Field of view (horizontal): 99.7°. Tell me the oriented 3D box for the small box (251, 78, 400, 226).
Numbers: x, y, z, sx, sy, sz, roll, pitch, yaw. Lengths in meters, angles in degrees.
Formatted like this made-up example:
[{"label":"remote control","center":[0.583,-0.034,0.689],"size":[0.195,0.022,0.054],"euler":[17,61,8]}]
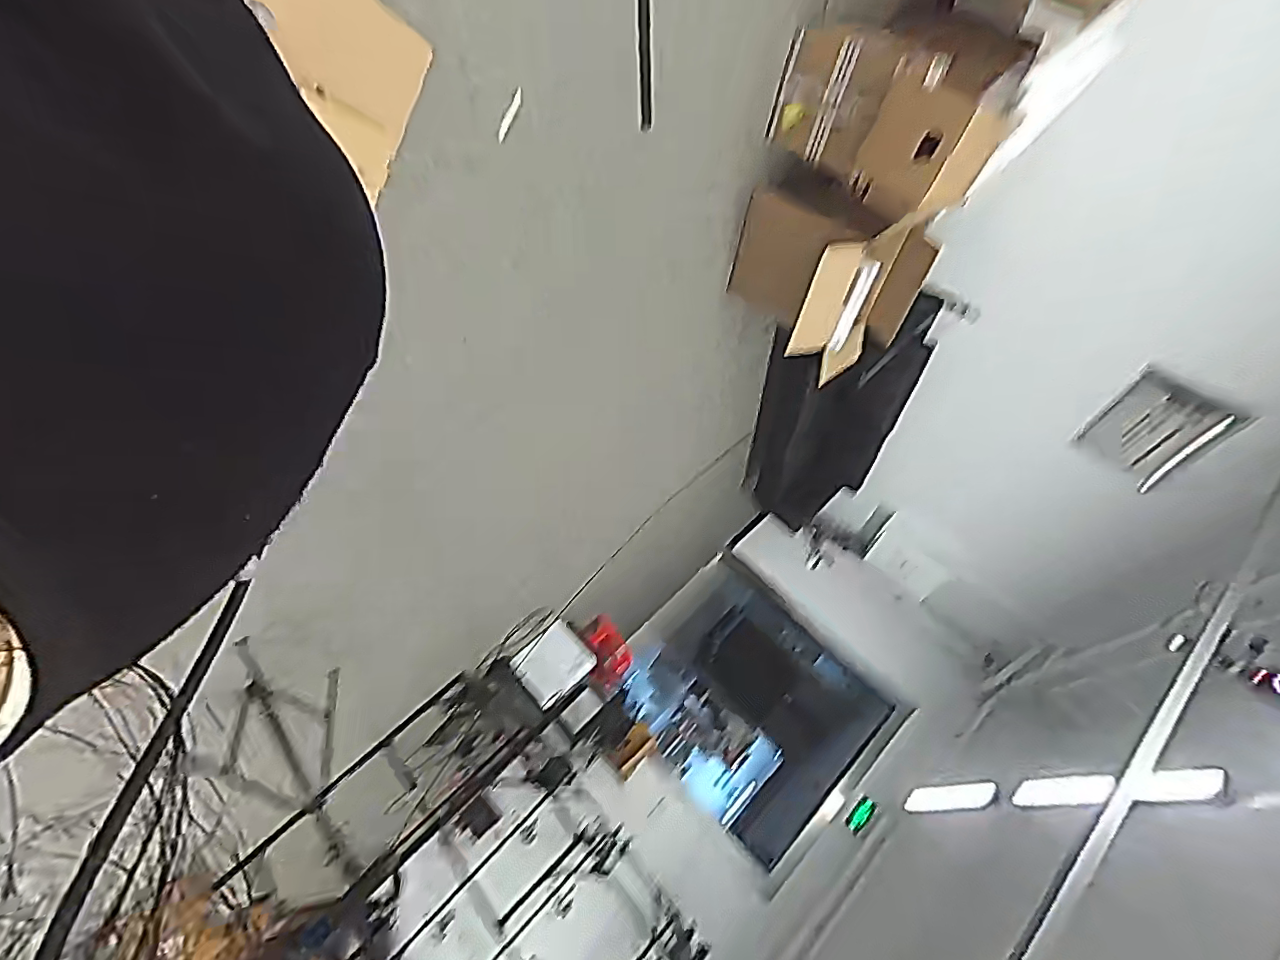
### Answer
[{"label":"small box","center":[-0.604,-0.625,1.032],"size":[0.179,0.176,0.168],"euler":[-3,131,-57]}]
